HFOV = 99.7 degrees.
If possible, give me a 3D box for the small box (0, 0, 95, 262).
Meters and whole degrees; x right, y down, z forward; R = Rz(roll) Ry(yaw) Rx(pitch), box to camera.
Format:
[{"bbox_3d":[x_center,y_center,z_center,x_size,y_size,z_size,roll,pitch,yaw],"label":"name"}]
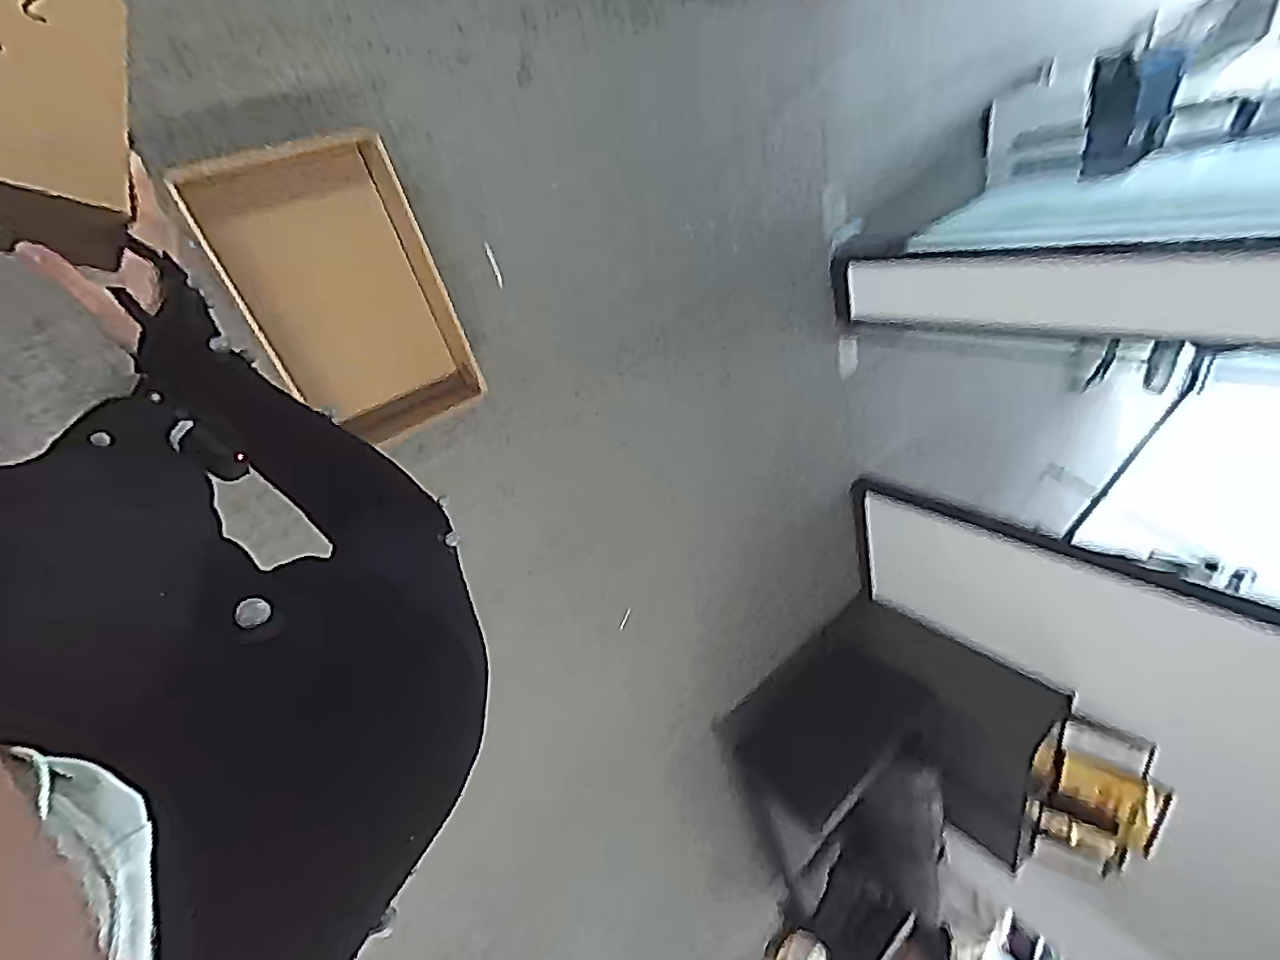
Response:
[{"bbox_3d":[-0.529,-0.288,0.407,0.168,0.176,0.179,-3,89,-47],"label":"small box"}]
